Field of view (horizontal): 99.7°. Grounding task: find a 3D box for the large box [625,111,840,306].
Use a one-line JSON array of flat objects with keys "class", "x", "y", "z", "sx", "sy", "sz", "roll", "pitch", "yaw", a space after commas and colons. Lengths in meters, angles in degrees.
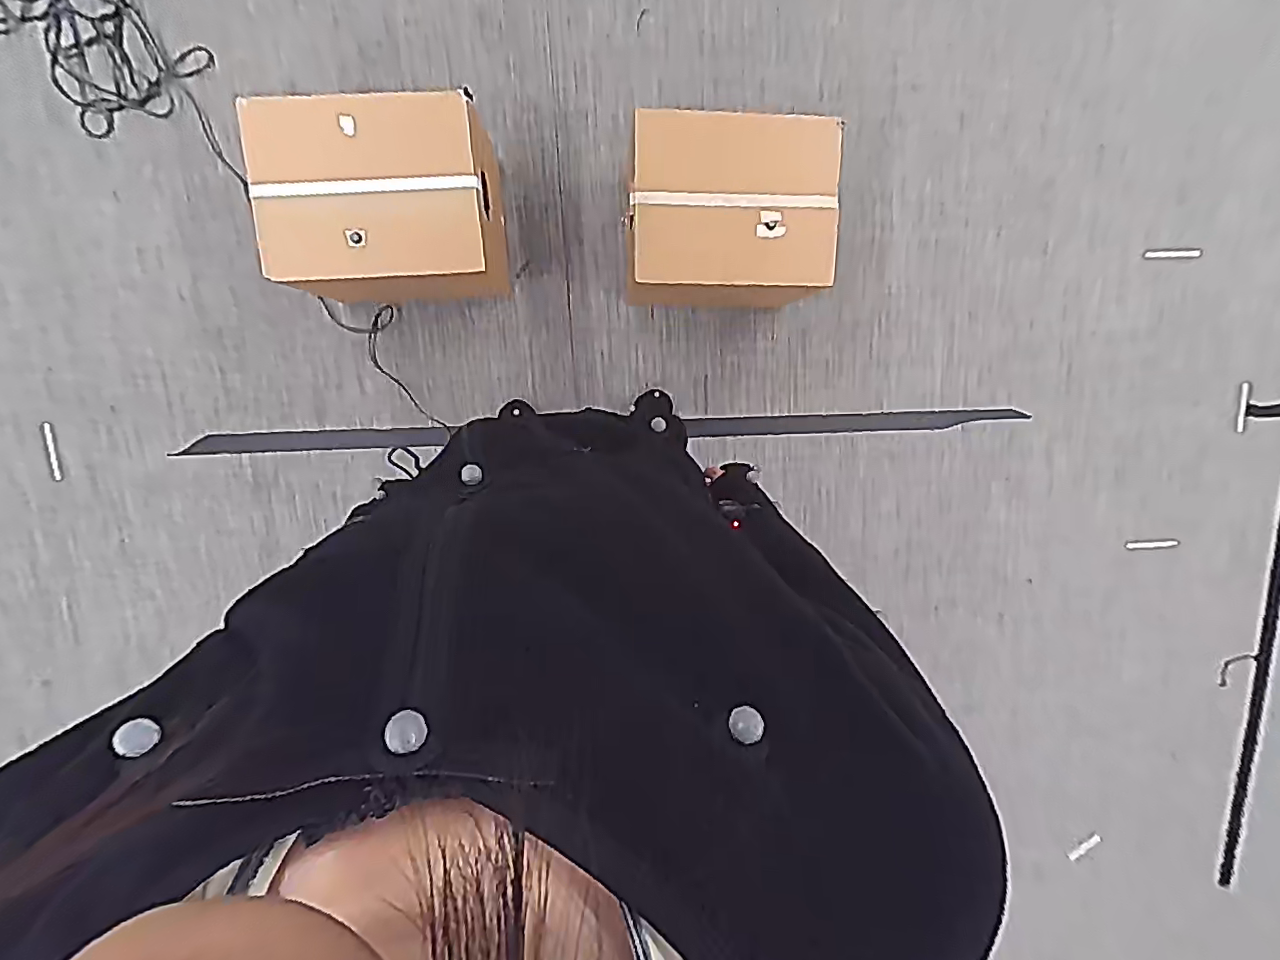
[{"class": "large box", "x": 0.178, "y": -0.570, "z": 1.202, "sx": 0.408, "sy": 0.320, "sz": 0.320, "roll": 0, "pitch": 100, "yaw": -5}]
